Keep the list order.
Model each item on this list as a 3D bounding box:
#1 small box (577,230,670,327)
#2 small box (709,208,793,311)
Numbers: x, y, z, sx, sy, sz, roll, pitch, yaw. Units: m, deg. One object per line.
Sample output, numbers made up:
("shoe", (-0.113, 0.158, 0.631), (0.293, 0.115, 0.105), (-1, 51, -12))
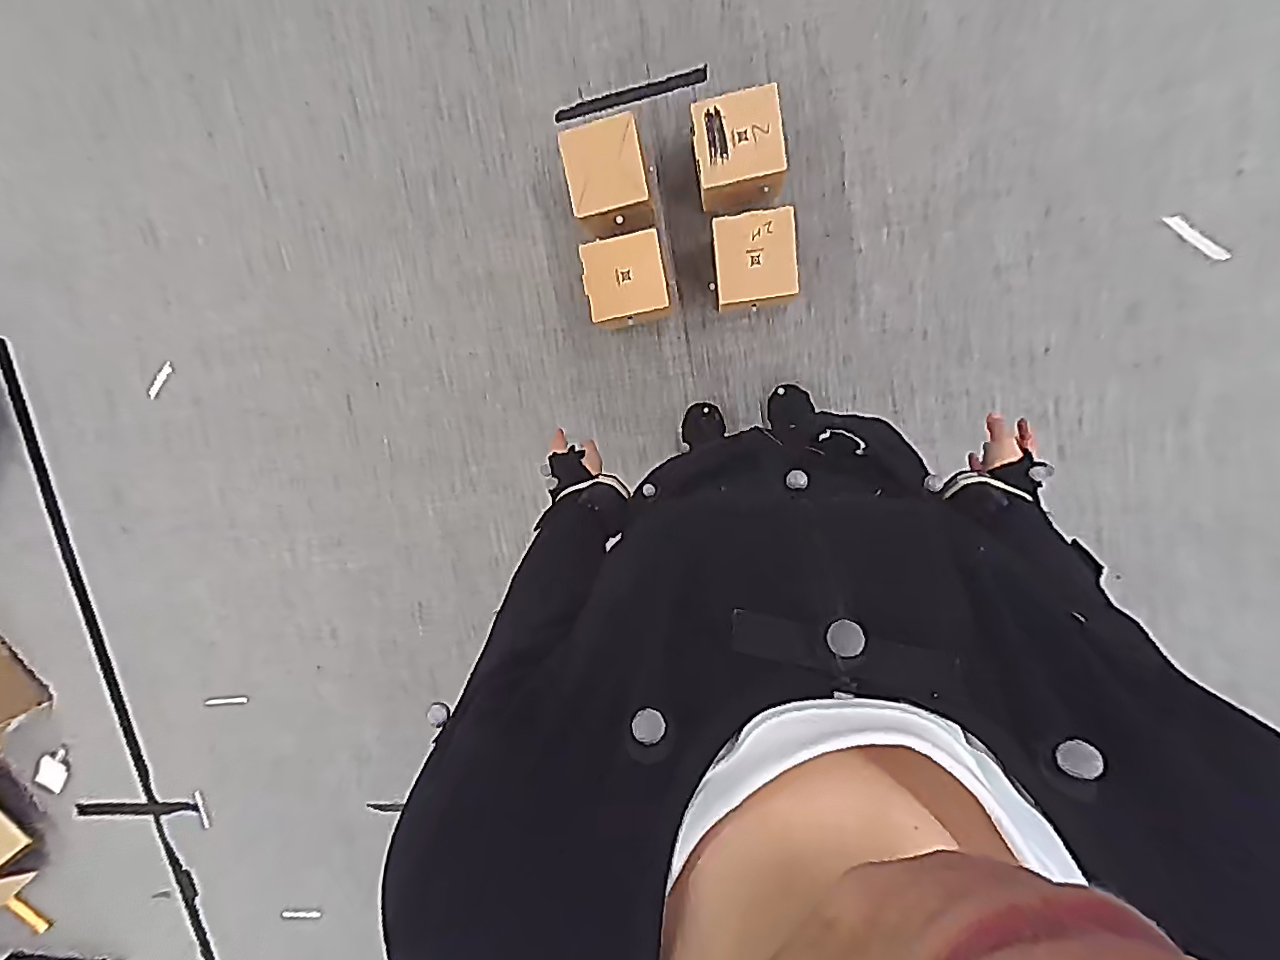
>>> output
("small box", (-0.029, -0.457, 1.251), (0.179, 0.176, 0.168), (-9, 99, 11))
("small box", (0.243, -0.480, 1.206), (0.168, 0.176, 0.179), (-5, 100, 8))
